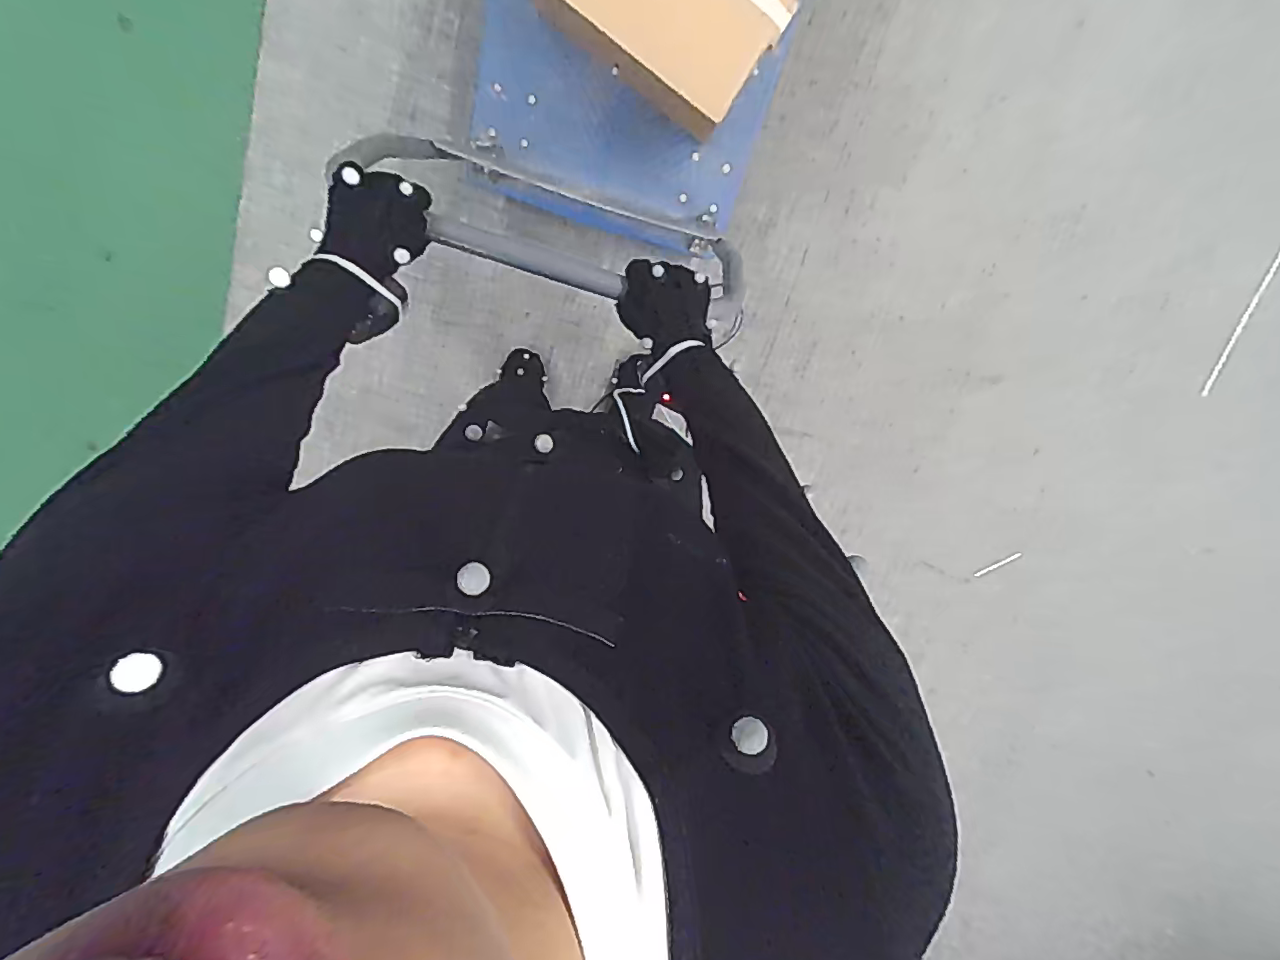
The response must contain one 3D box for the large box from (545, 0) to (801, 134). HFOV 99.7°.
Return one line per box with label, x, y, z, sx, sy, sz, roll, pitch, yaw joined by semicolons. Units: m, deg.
large box;0.061;-0.844;0.880;0.408;0.320;0.320;32;115;-12
